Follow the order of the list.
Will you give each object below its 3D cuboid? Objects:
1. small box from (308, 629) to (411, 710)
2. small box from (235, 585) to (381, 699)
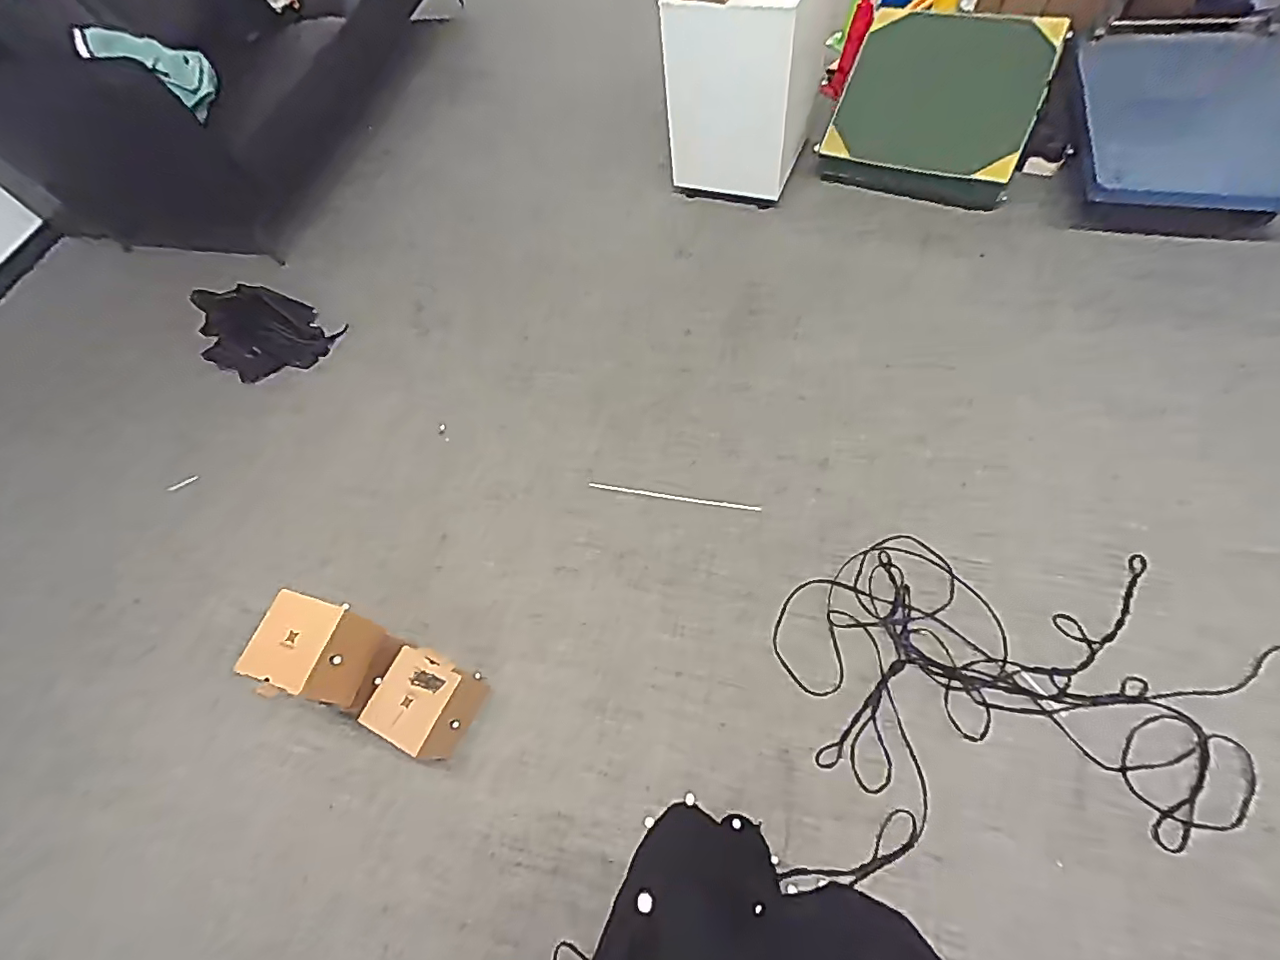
[{"bbox_3d":[-0.682,0.433,1.285,0.168,0.176,0.179,12,65,14],"label":"small box"},{"bbox_3d":[-0.686,0.347,1.146,0.168,0.176,0.179,13,65,14],"label":"small box"}]
